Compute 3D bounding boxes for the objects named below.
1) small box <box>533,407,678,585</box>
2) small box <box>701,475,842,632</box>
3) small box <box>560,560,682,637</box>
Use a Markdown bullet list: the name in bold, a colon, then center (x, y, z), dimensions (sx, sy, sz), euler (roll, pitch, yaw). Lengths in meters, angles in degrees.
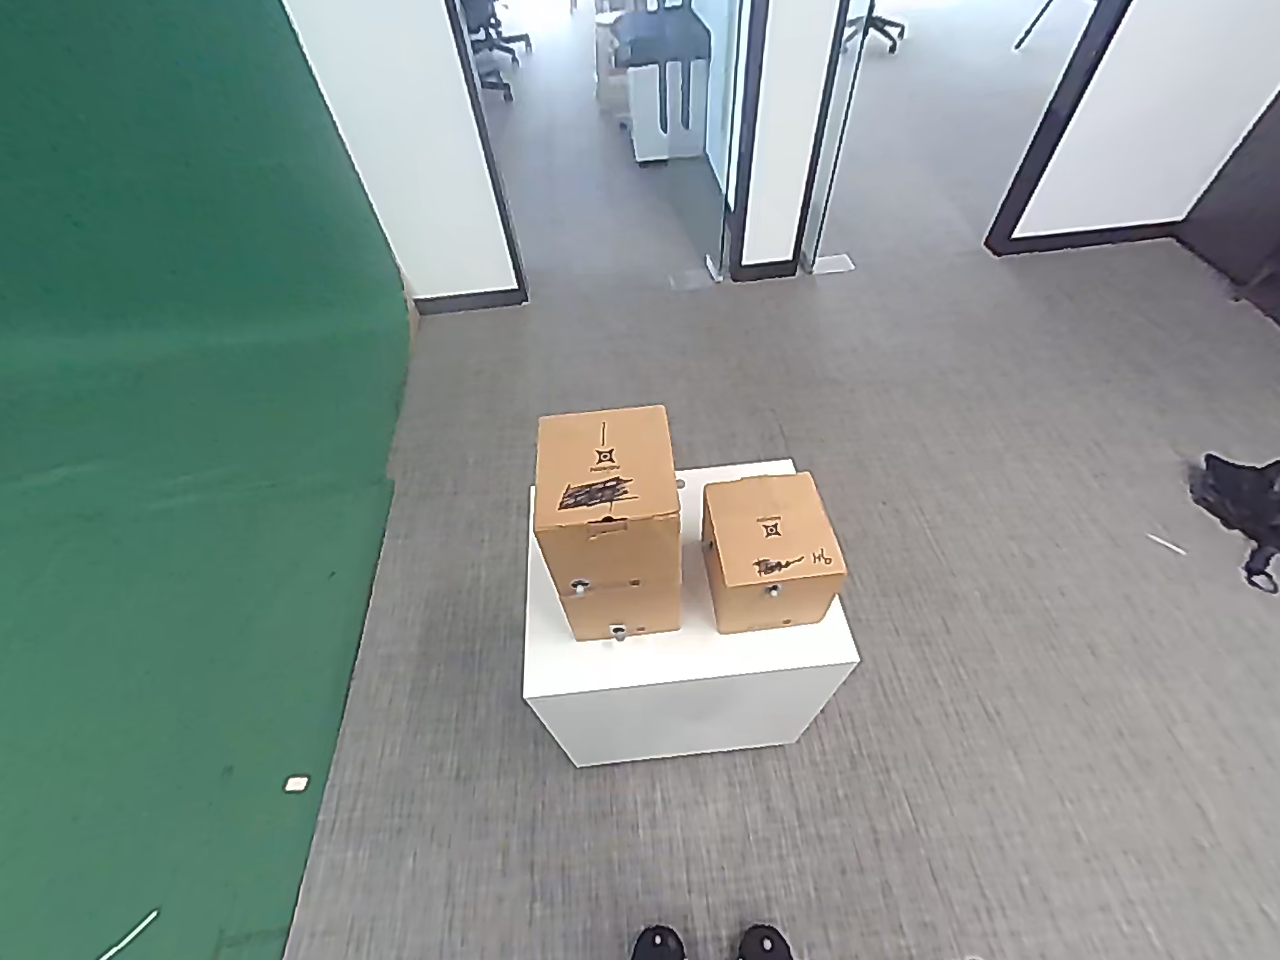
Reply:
- **small box**: center (-0.039, 0.029, 0.718), dimensions (0.168, 0.176, 0.179), euler (-5, 50, 1)
- **small box**: center (0.189, 0.116, 0.840), dimensions (0.168, 0.176, 0.179), euler (-6, 51, -1)
- **small box**: center (-0.031, 0.121, 0.834), dimensions (0.168, 0.176, 0.179), euler (-8, 53, -2)
